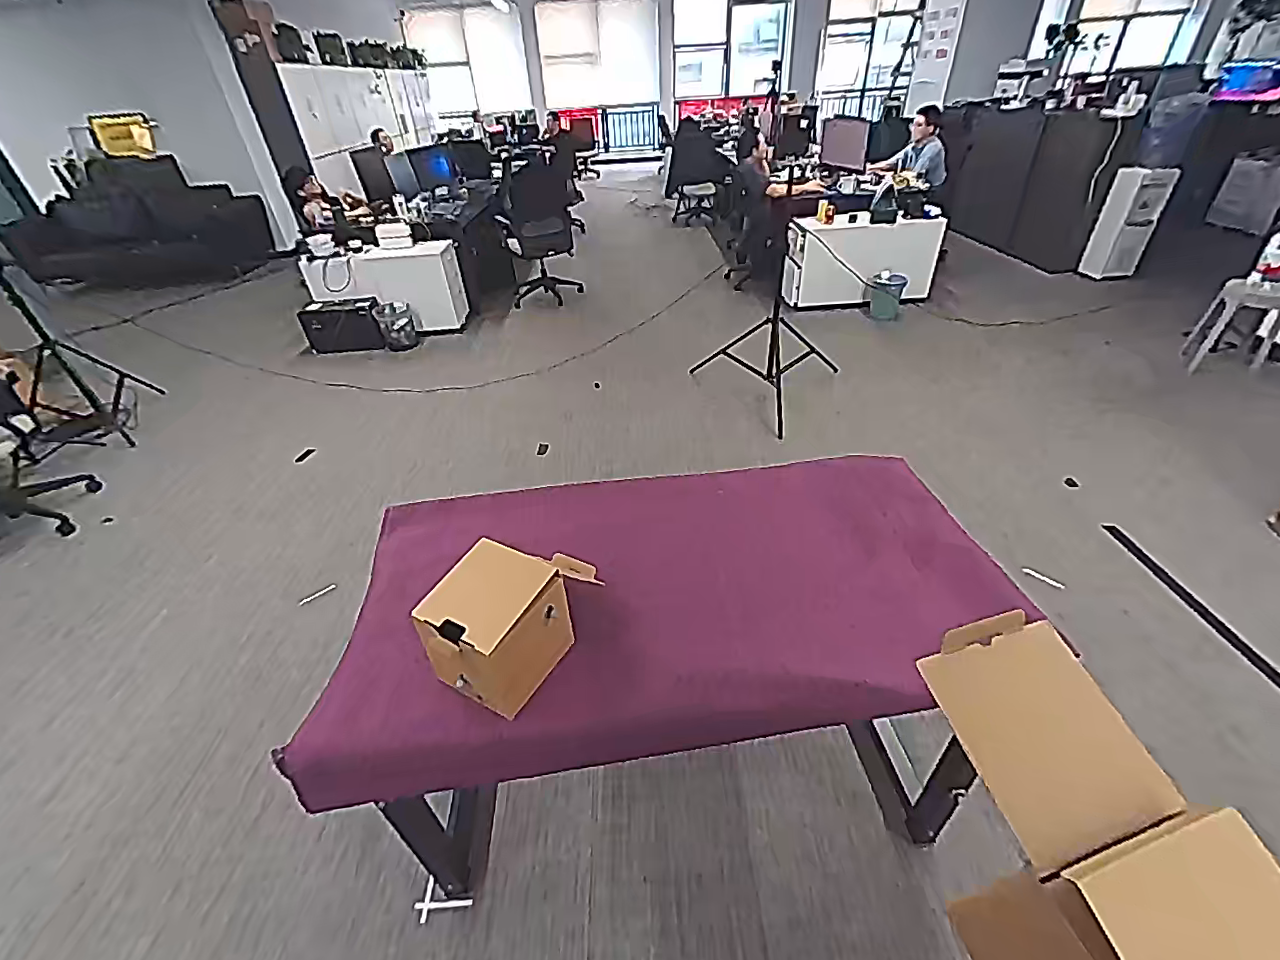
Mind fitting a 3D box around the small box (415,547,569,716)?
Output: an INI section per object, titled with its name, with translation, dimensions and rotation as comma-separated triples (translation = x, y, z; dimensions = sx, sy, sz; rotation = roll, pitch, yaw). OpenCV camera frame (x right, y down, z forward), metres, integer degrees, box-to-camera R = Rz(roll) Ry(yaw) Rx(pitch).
[small box]
translation = -0.233, 0.247, 0.899
dimensions = 0.168, 0.176, 0.179
rotation = 16, 40, 26
